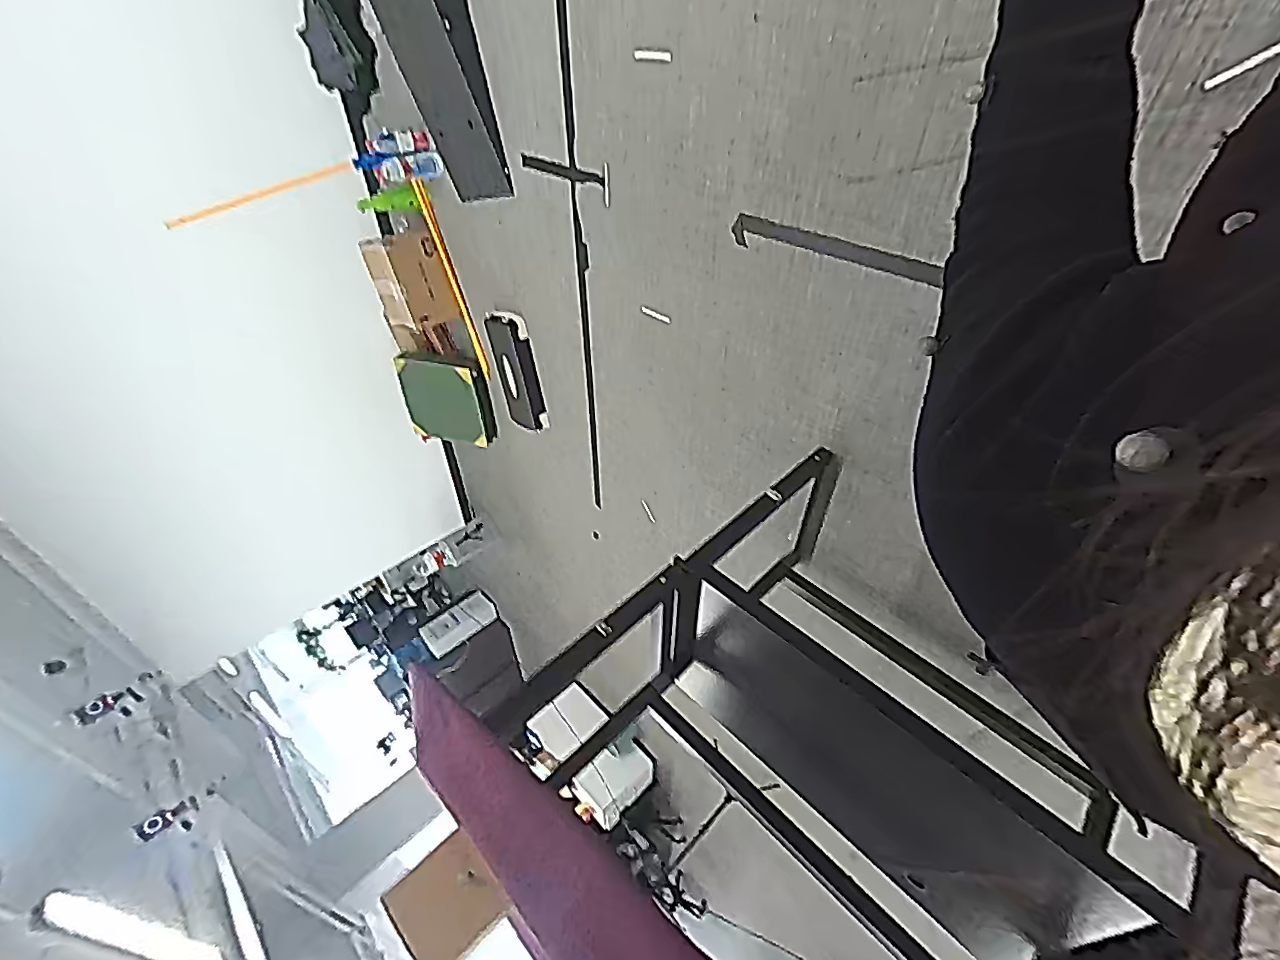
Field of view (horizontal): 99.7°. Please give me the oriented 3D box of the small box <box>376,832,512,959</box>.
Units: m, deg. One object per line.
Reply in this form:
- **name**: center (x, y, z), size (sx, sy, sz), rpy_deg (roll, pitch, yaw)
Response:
- **small box**: center (-0.361, 0.801, 1.019), size (0.179, 0.176, 0.168), rpy_deg (41, 145, 24)
